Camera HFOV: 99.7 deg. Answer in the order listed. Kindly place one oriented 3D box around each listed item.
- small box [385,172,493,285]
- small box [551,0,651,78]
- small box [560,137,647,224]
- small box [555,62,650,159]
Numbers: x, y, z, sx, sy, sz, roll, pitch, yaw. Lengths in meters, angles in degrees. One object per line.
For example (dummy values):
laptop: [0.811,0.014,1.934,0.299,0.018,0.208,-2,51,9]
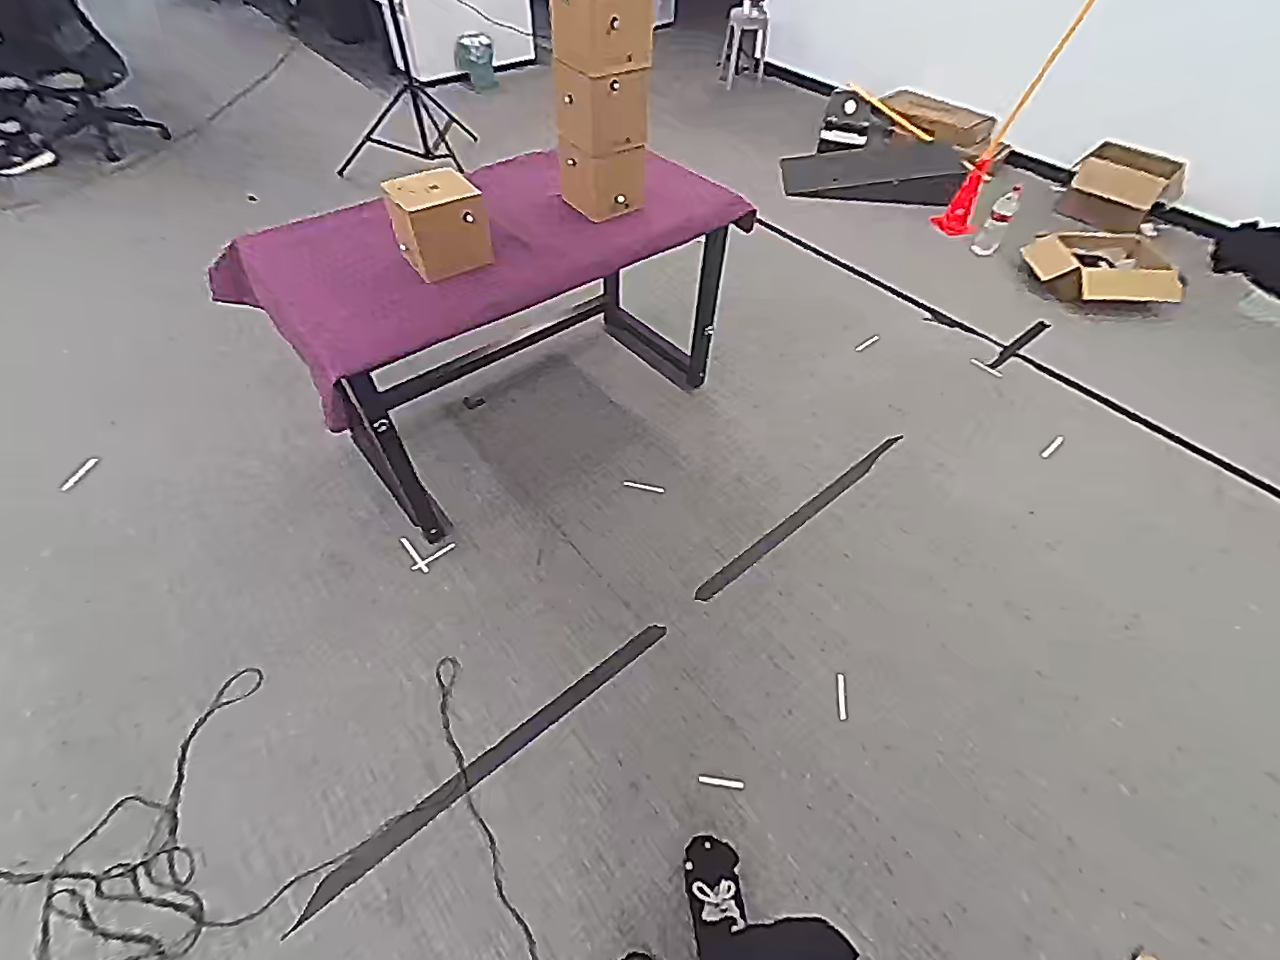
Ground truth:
small box: [-0.464,-0.592,1.276,0.179,0.176,0.168,-30,58,-22]
small box: [-0.083,-1.023,1.210,0.168,0.176,0.179,-29,58,-21]
small box: [-0.100,-0.829,1.473,0.168,0.176,0.179,-31,59,-22]
small box: [-0.092,-0.926,1.342,0.168,0.176,0.179,-29,57,-21]
